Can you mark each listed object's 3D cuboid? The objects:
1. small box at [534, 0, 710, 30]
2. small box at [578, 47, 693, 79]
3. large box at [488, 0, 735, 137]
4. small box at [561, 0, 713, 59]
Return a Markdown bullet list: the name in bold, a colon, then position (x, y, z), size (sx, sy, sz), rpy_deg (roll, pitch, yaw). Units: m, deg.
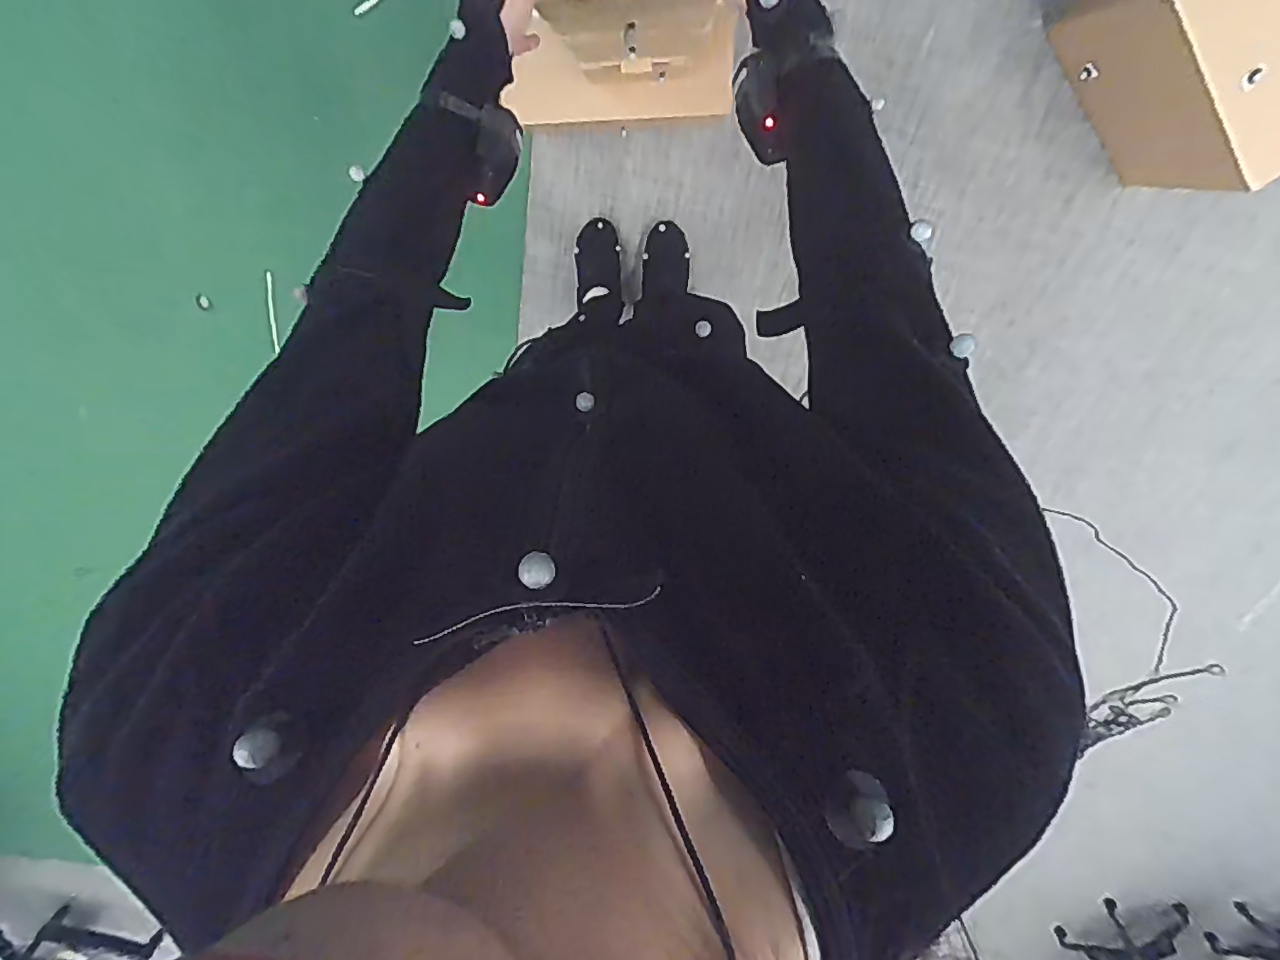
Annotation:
- **small box**: position (-0.015, -0.543, 0.504), size (0.179, 0.176, 0.168), rpy_deg (-2, 120, 2)
- **small box**: position (-0.005, -0.703, 0.790), size (0.168, 0.176, 0.179), rpy_deg (-1, 120, 3)
- **large box**: position (-0.038, -0.834, 0.998), size (0.408, 0.320, 0.320), rpy_deg (-1, 119, 4)
- **small box**: position (-0.007, -0.623, 0.647), size (0.179, 0.176, 0.168), rpy_deg (-2, 120, 4)
